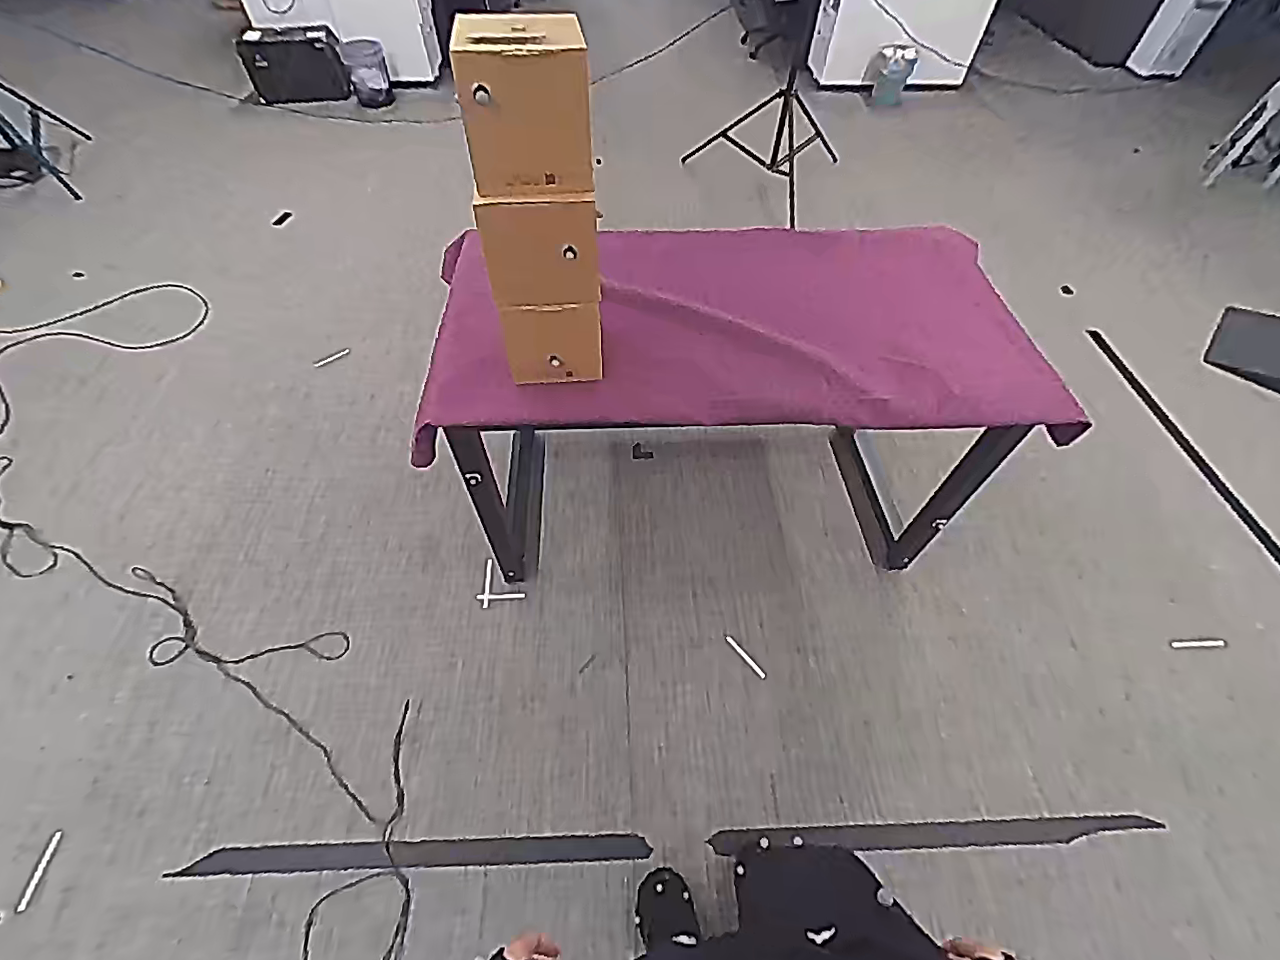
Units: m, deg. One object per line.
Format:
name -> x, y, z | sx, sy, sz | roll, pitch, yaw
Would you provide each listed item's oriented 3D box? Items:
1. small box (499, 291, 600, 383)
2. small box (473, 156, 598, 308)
small box -> -0.162, -0.302, 1.007 | 0.168, 0.176, 0.179 | -4, 54, -4
small box -> -0.160, -0.399, 0.877 | 0.179, 0.176, 0.168 | -5, 52, -4
